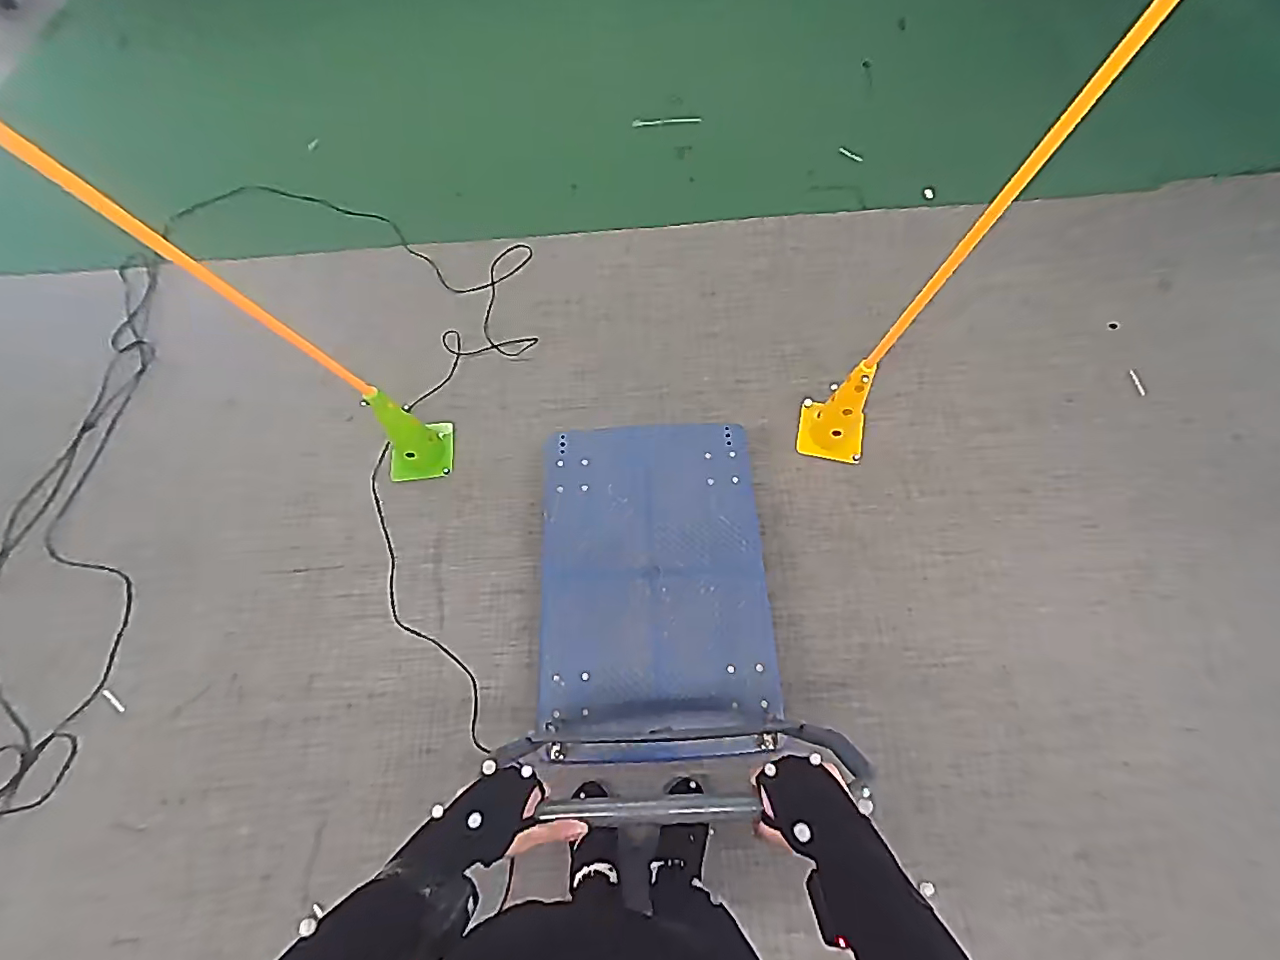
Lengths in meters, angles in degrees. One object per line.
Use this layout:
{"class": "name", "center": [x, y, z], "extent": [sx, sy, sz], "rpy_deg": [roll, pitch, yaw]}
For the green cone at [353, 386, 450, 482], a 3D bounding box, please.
{"class": "green cone", "center": [-0.730, -0.165, 1.602], "extent": [0.202, 0.368, 0.200], "rpy_deg": [-8, 65, 0]}
